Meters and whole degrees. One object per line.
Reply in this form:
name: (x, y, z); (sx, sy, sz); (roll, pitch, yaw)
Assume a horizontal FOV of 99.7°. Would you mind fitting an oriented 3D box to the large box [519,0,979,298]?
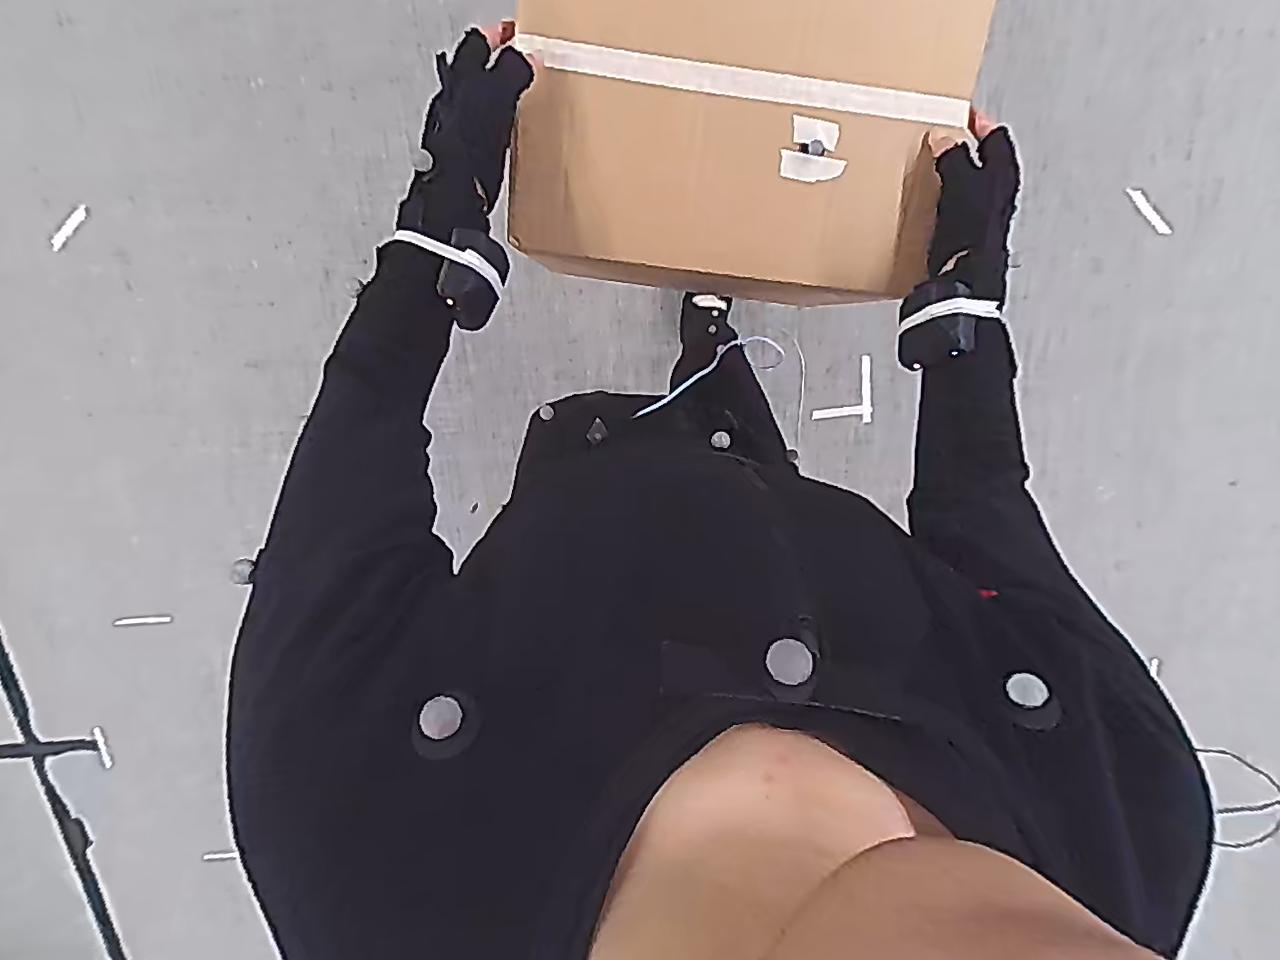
large box: (0.086, -0.400, 0.632); (0.408, 0.320, 0.320); (6, 107, -5)
